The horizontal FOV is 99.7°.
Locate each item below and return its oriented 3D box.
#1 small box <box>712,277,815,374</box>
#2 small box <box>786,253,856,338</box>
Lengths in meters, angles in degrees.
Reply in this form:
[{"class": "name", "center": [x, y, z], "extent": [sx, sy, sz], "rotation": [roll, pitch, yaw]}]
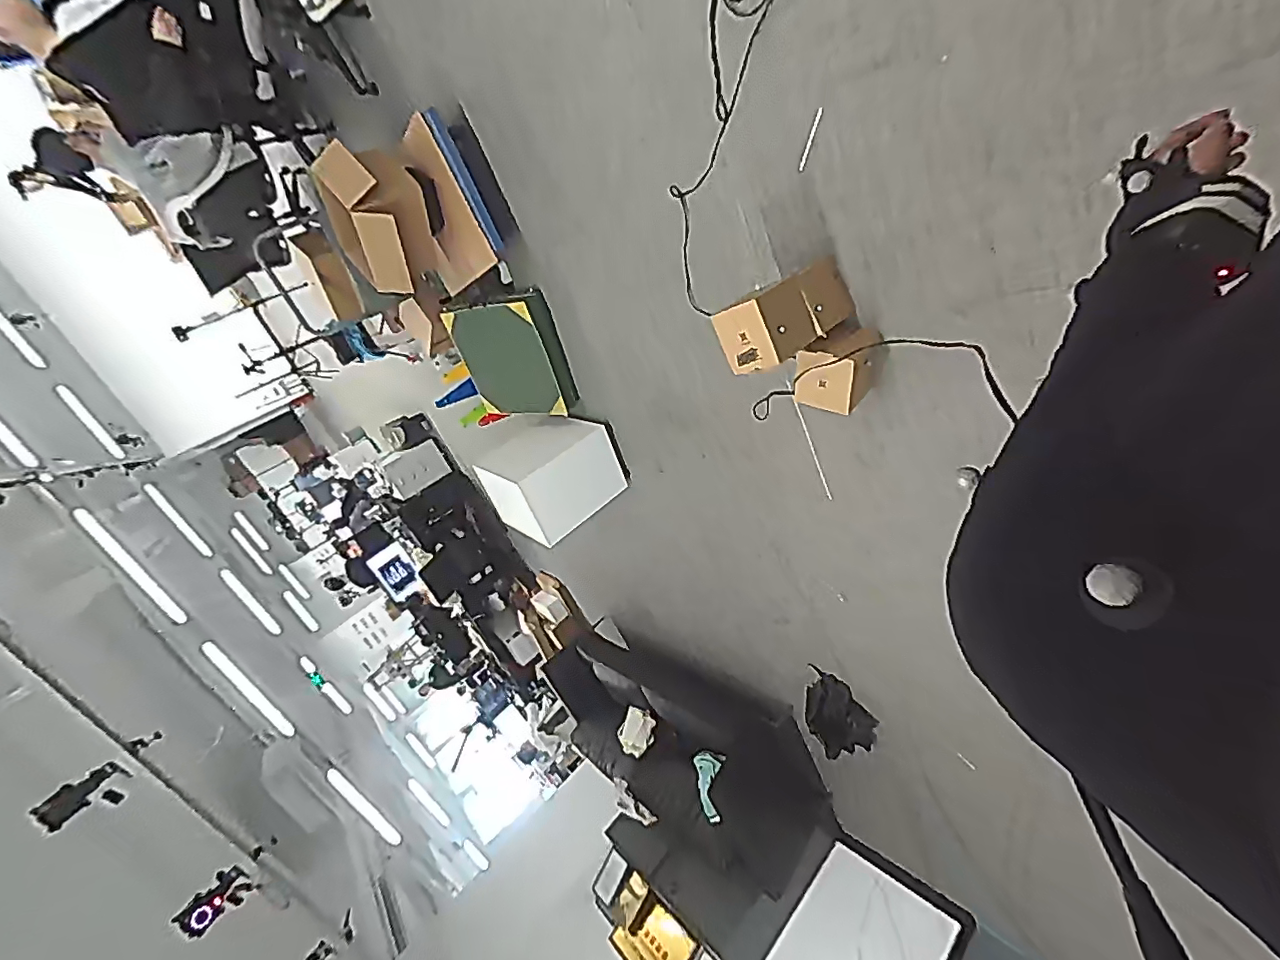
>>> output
[{"class": "small box", "center": [0.327, -0.401, 1.414], "extent": [0.168, 0.176, 0.179], "rotation": [-1, 121, 56]}, {"class": "small box", "center": [0.454, -0.486, 1.488], "extent": [0.168, 0.176, 0.179], "rotation": [53, 154, -12]}]
